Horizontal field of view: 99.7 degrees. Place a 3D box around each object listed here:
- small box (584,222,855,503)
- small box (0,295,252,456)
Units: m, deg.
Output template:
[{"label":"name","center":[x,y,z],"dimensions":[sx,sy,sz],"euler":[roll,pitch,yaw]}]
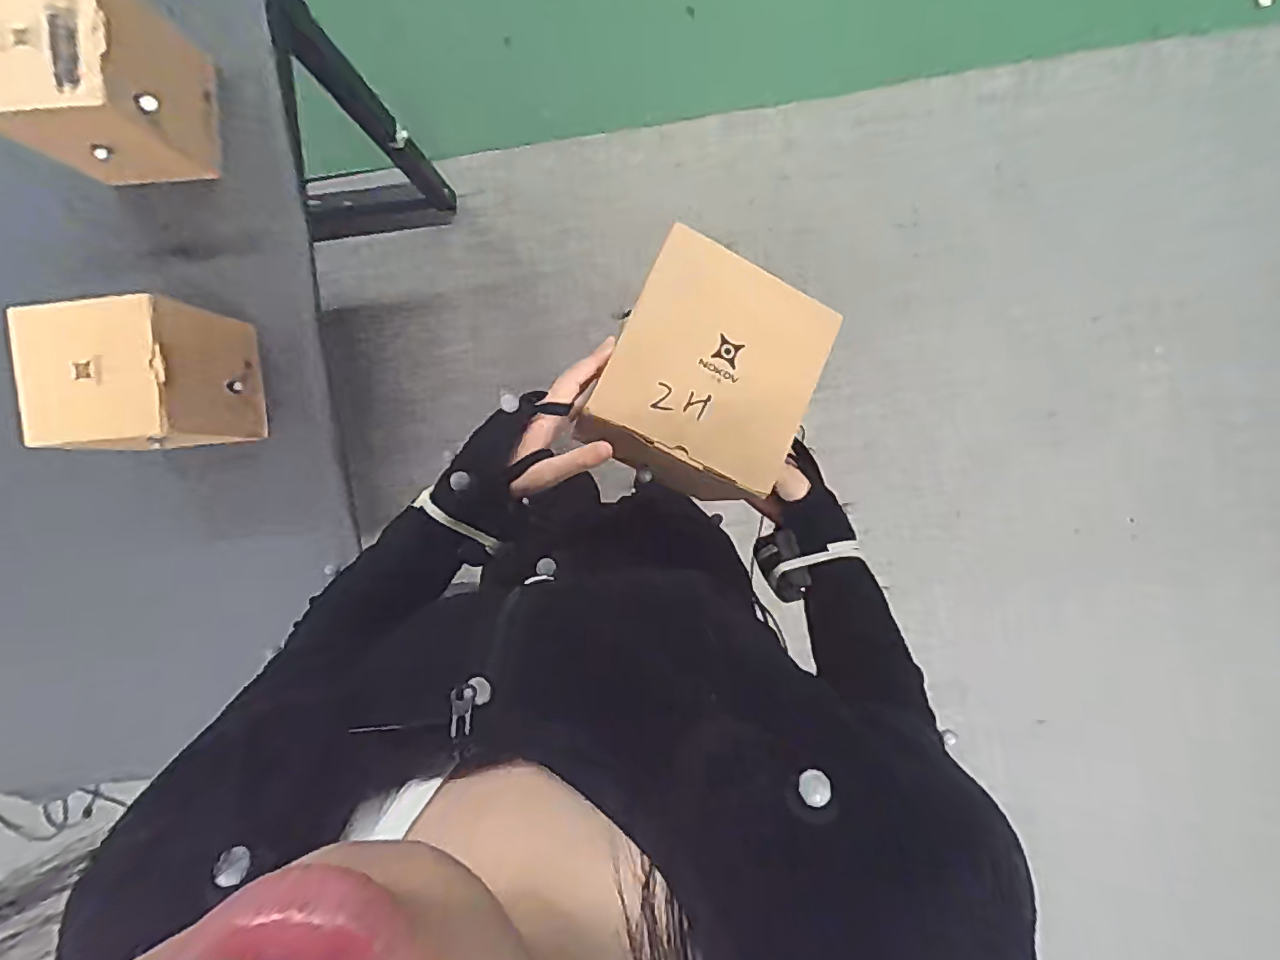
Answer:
[{"label":"small box","center":[0.059,-0.090,0.508],"dimensions":[0.168,0.176,0.179],"euler":[26,82,-11]},{"label":"small box","center":[-0.645,-0.120,0.689],"dimensions":[0.179,0.176,0.168],"euler":[-6,91,1]}]
